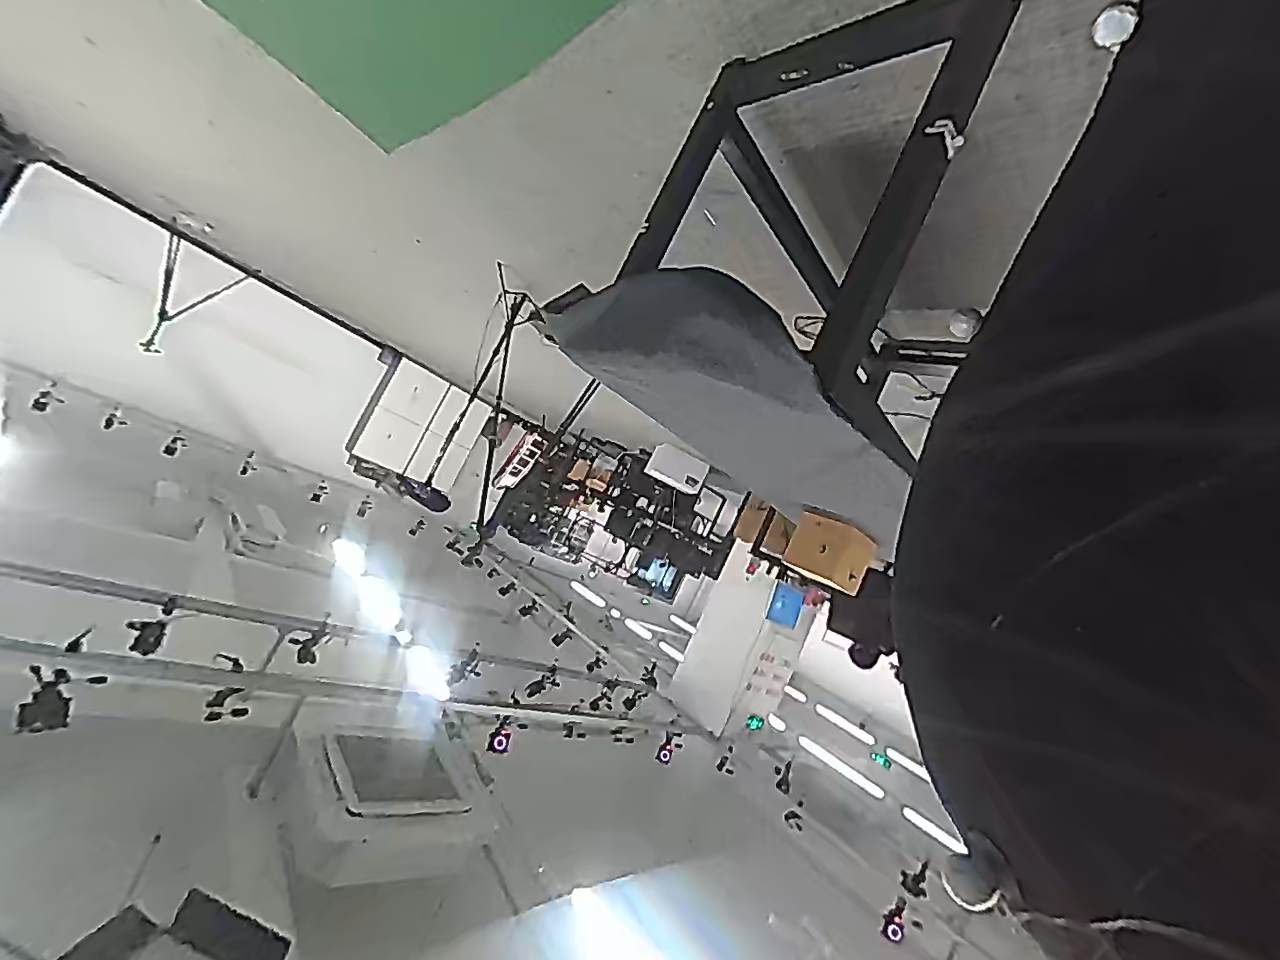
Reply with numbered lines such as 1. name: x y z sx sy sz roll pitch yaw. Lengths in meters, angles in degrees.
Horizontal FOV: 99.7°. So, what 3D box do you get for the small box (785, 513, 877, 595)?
1. small box: 0.555 0.209 1.570 0.179 0.176 0.168 29 173 -42
